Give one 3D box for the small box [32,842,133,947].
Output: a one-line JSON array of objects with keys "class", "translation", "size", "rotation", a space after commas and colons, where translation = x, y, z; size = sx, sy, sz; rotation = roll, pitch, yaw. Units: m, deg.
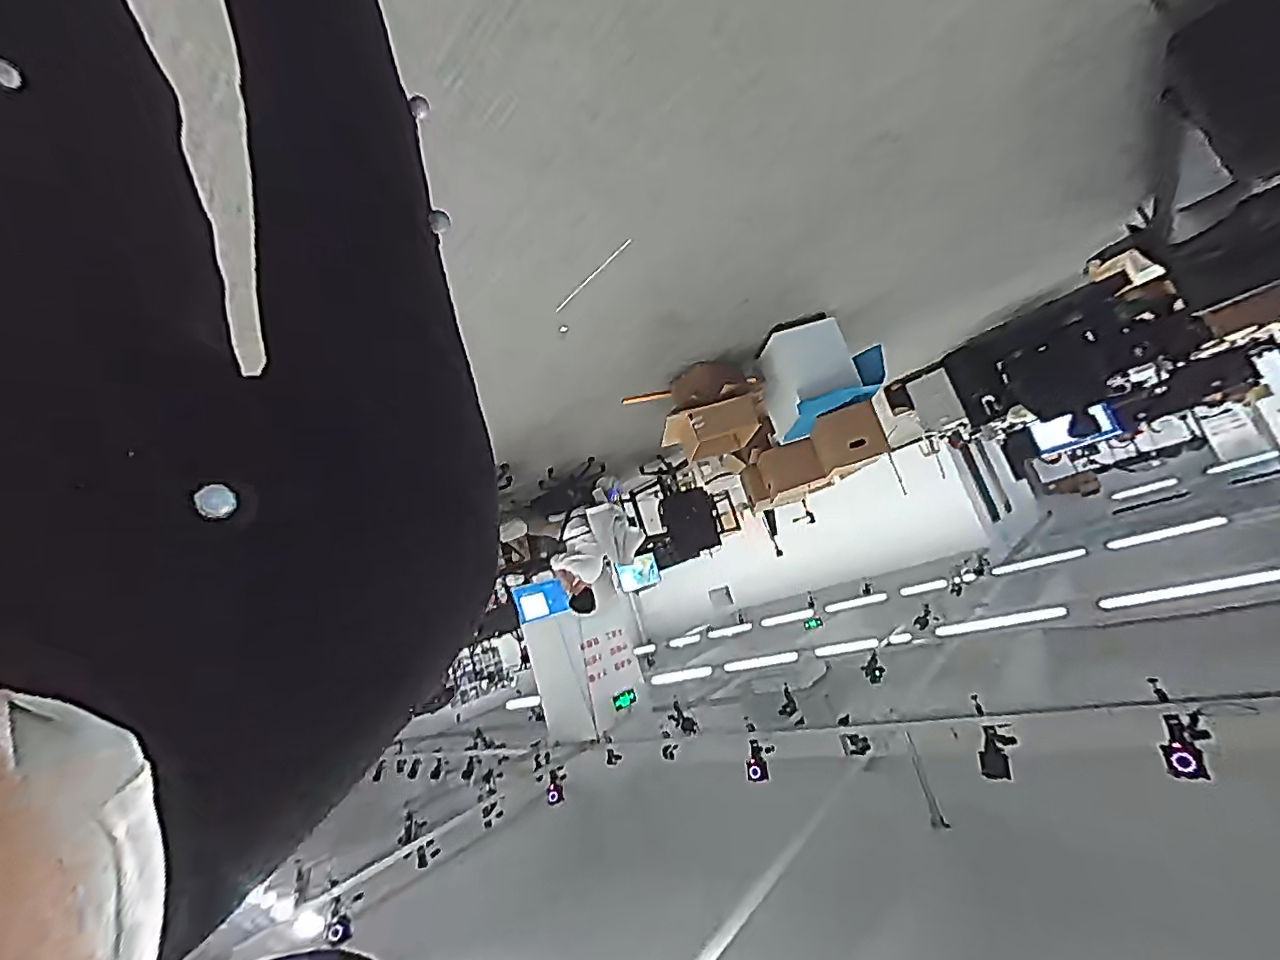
[{"class": "small box", "translation": [-1.569, 1.148, 1.520], "size": [0.168, 0.176, 0.179], "rotation": [-26, 167, 38]}]
